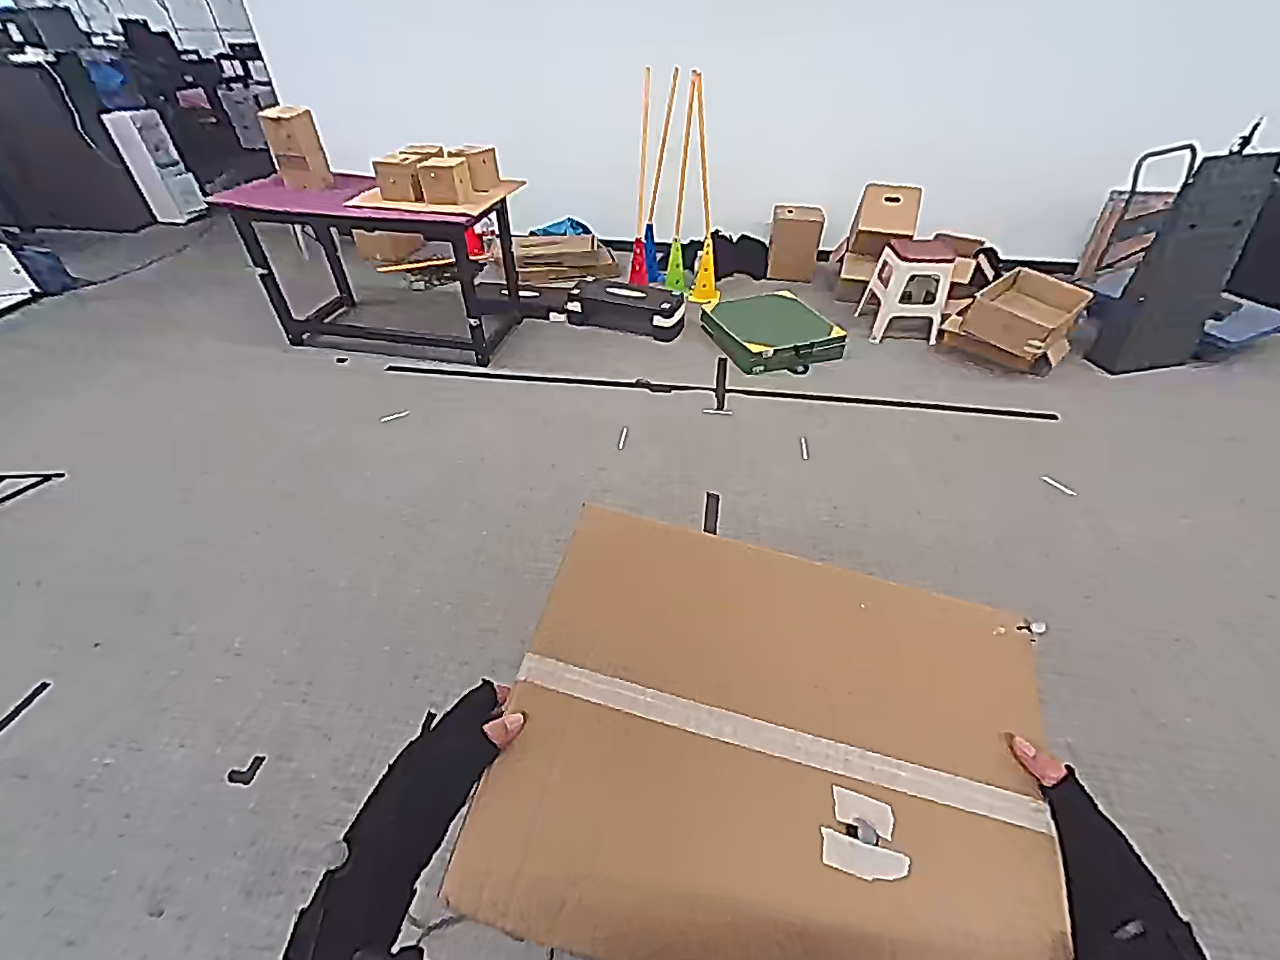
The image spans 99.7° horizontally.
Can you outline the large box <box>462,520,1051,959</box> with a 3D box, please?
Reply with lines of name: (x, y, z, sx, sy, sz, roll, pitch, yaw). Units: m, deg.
large box: (0.094, 0.283, 0.551, 0.408, 0.320, 0.320, 14, 59, 5)
